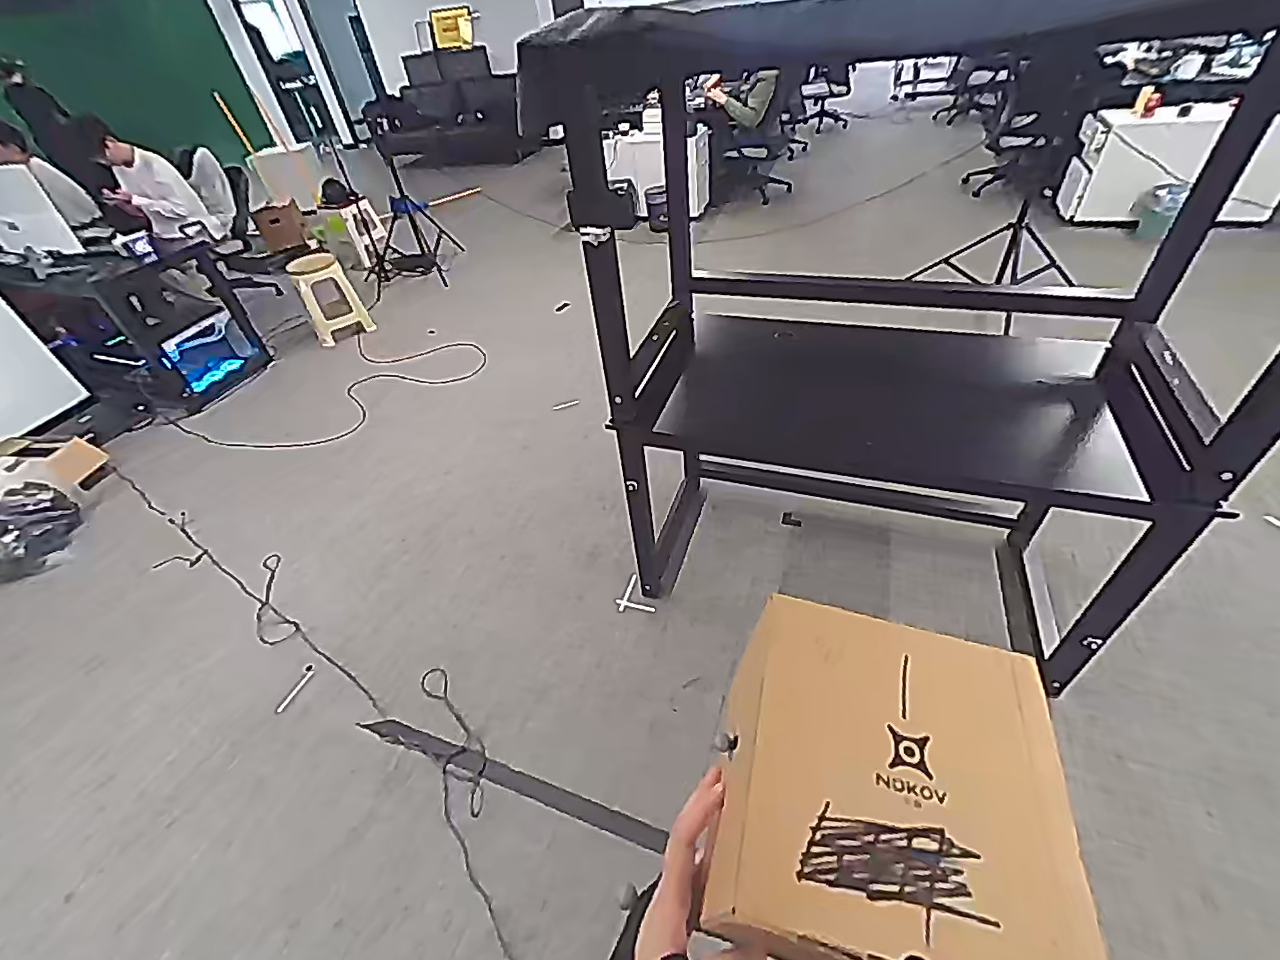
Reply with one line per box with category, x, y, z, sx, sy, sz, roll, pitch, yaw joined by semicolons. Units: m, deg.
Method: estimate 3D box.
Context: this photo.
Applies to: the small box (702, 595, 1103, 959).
small box;0.140;0.208;0.349;0.168;0.176;0.179;13;49;8
